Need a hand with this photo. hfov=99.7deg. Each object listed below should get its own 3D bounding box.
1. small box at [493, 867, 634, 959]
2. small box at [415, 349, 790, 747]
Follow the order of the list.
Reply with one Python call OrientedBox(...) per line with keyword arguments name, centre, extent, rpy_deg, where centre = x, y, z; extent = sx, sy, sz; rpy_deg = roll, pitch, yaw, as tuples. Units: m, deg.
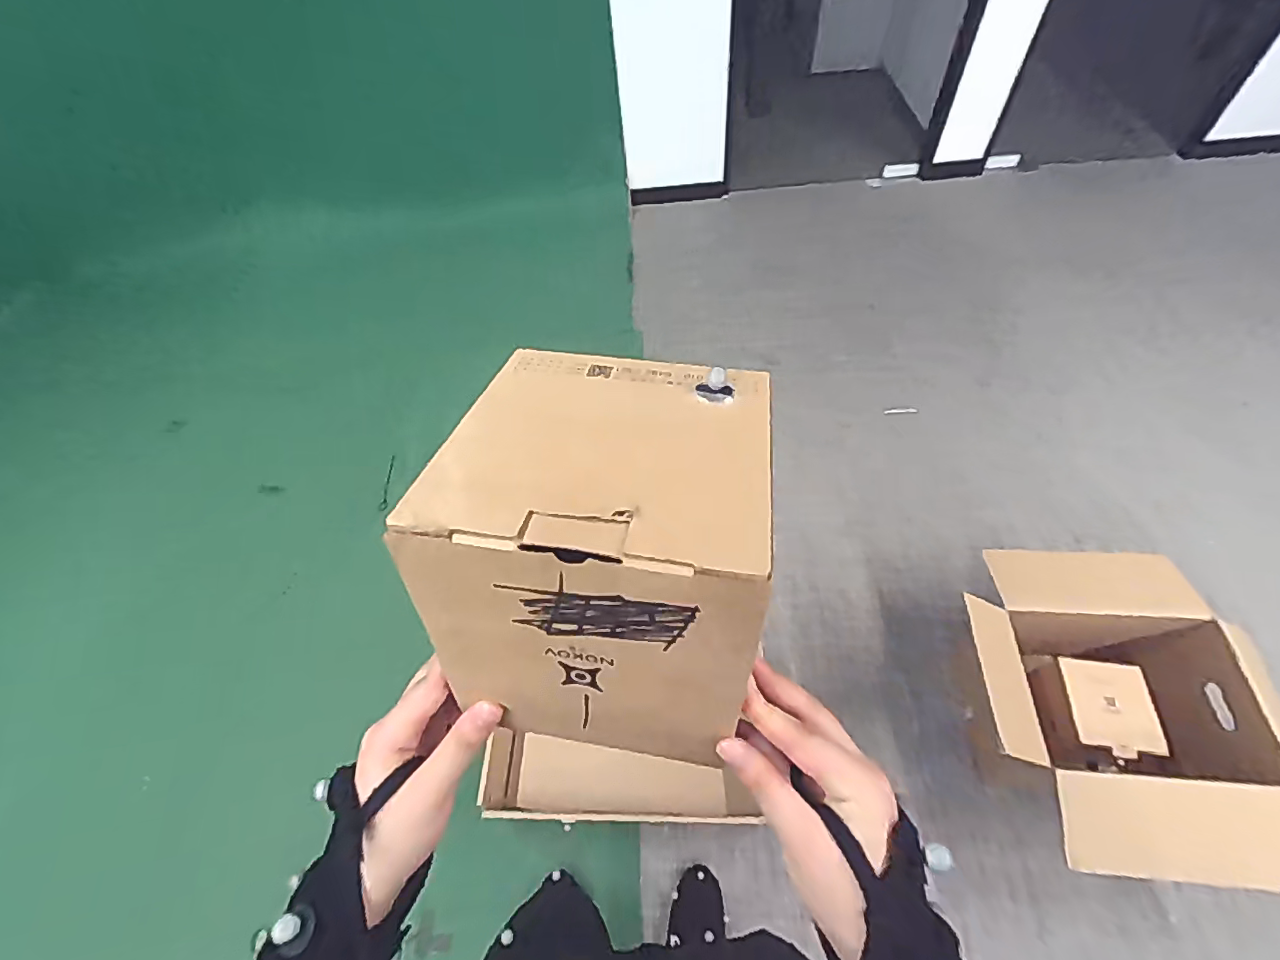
OrientedBox(name="small box", centre=(-0.137, 0.885, 1.022), extent=(0.176, 0.168, 0.179), rpy_deg=(47, 37, 2))
OrientedBox(name="small box", centre=(-0.009, 0.034, 0.342), extent=(0.168, 0.179, 0.176), rpy_deg=(7, 41, 7))
